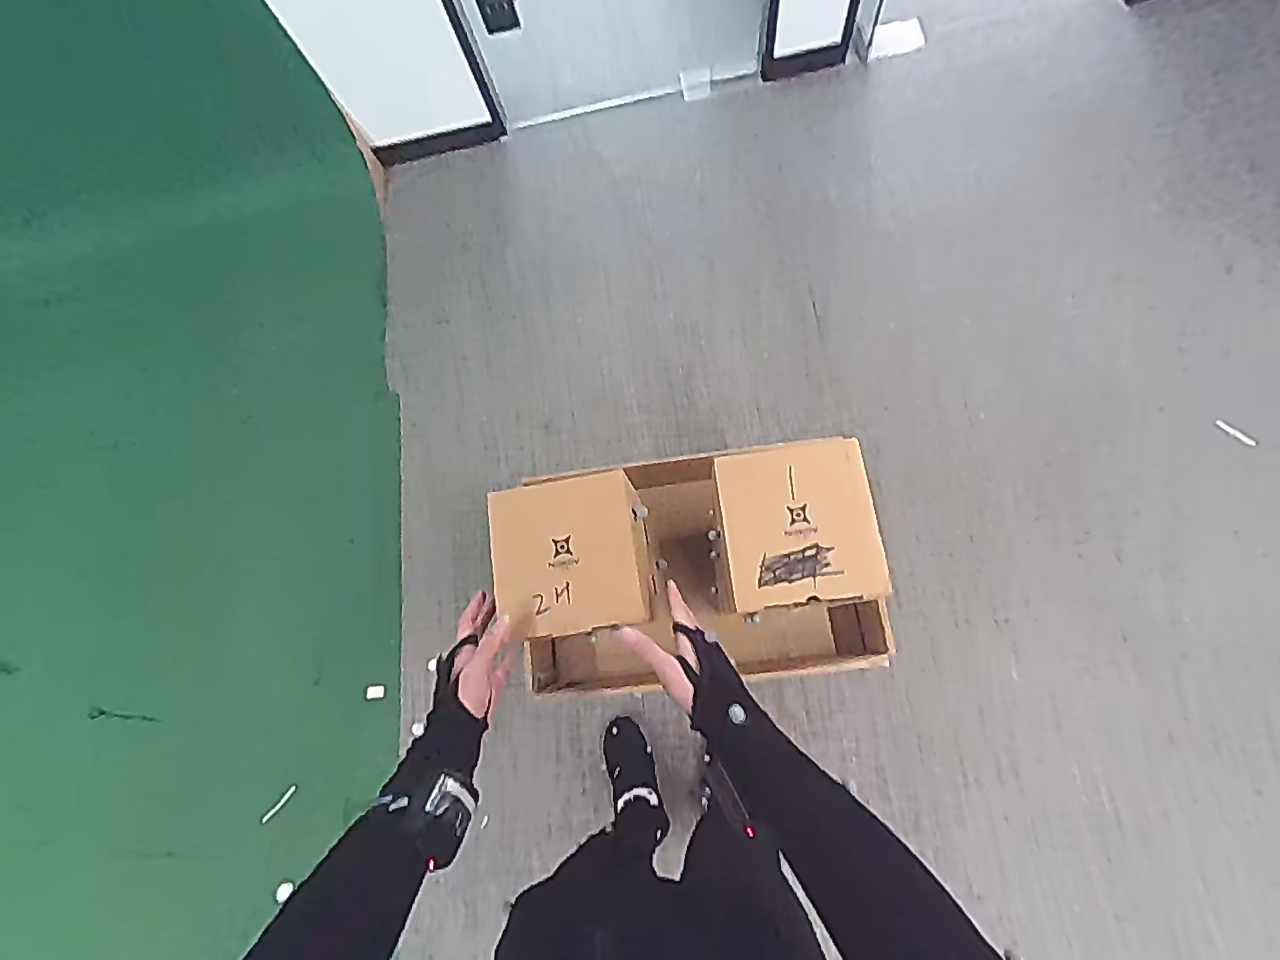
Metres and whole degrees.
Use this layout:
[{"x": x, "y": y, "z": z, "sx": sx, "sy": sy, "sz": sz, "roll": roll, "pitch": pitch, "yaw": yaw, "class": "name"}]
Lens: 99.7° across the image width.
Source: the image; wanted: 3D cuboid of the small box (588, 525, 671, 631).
[{"x": -0.041, "y": 0.188, "z": 1.005, "sx": 0.179, "sy": 0.176, "sz": 0.168, "roll": -8, "pitch": 74, "yaw": 3, "class": "small box"}]

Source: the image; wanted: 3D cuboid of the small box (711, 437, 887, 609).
[{"x": 0.181, "y": 0.064, "z": 0.667, "sx": 0.168, "sy": 0.176, "sz": 0.179, "roll": -7, "pitch": 74, "yaw": 5, "class": "small box"}]

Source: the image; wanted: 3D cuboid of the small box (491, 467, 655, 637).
[{"x": -0.078, "y": 0.100, "z": 0.689, "sx": 0.168, "sy": 0.176, "sz": 0.179, "roll": -10, "pitch": 75, "yaw": 5, "class": "small box"}]

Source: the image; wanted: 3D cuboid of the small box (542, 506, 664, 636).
[{"x": -0.059, "y": 0.146, "z": 0.847, "sx": 0.179, "sy": 0.176, "sz": 0.168, "roll": -10, "pitch": 74, "yaw": 4, "class": "small box"}]
